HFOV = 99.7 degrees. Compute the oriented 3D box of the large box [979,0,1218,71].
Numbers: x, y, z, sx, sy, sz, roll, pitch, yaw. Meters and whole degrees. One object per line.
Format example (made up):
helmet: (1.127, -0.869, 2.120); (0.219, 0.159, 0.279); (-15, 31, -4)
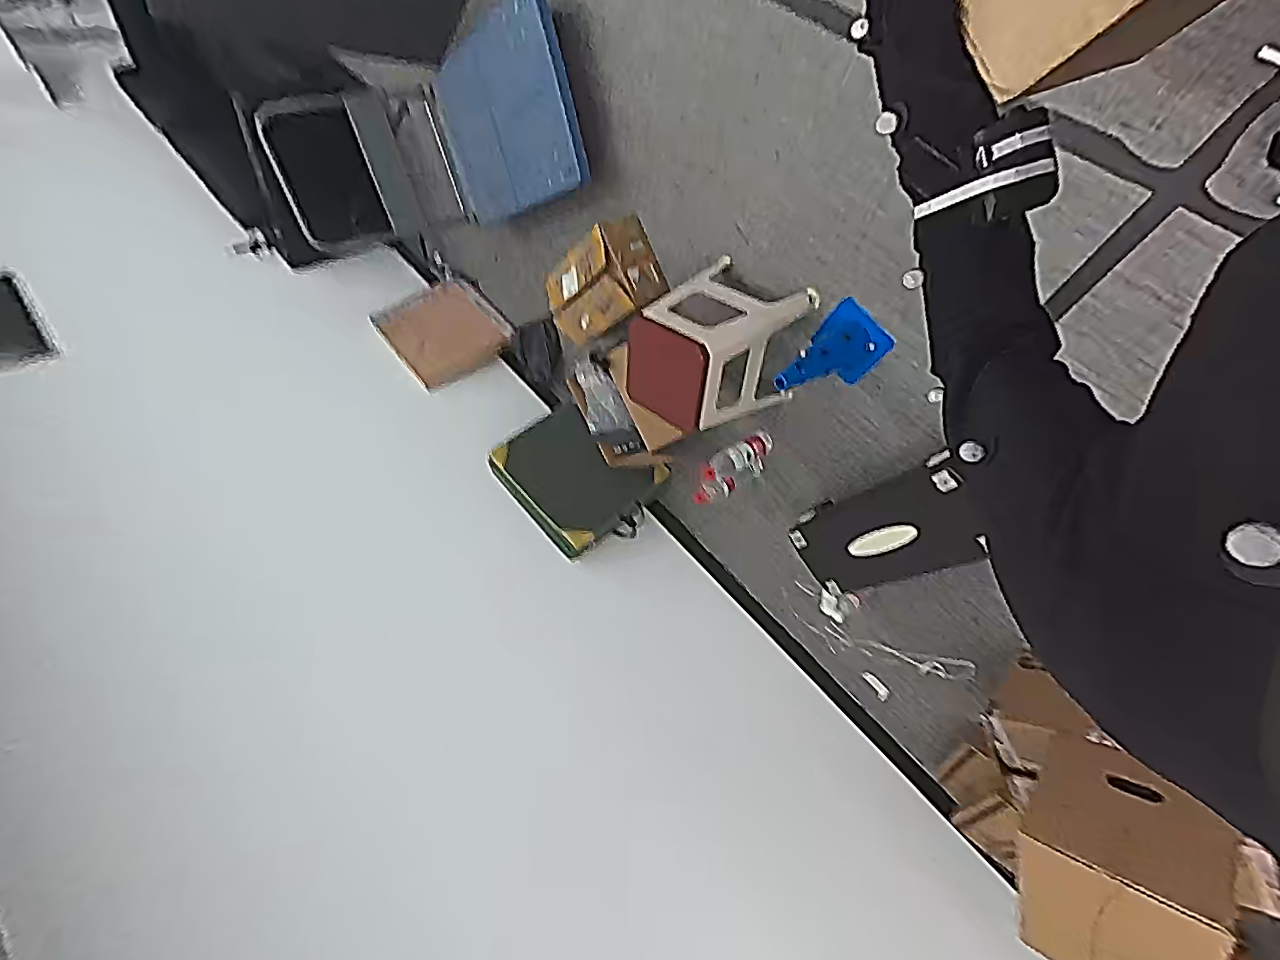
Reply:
large box: (0.388, -0.516, 0.268); (0.320, 0.320, 0.408); (60, 151, -5)
